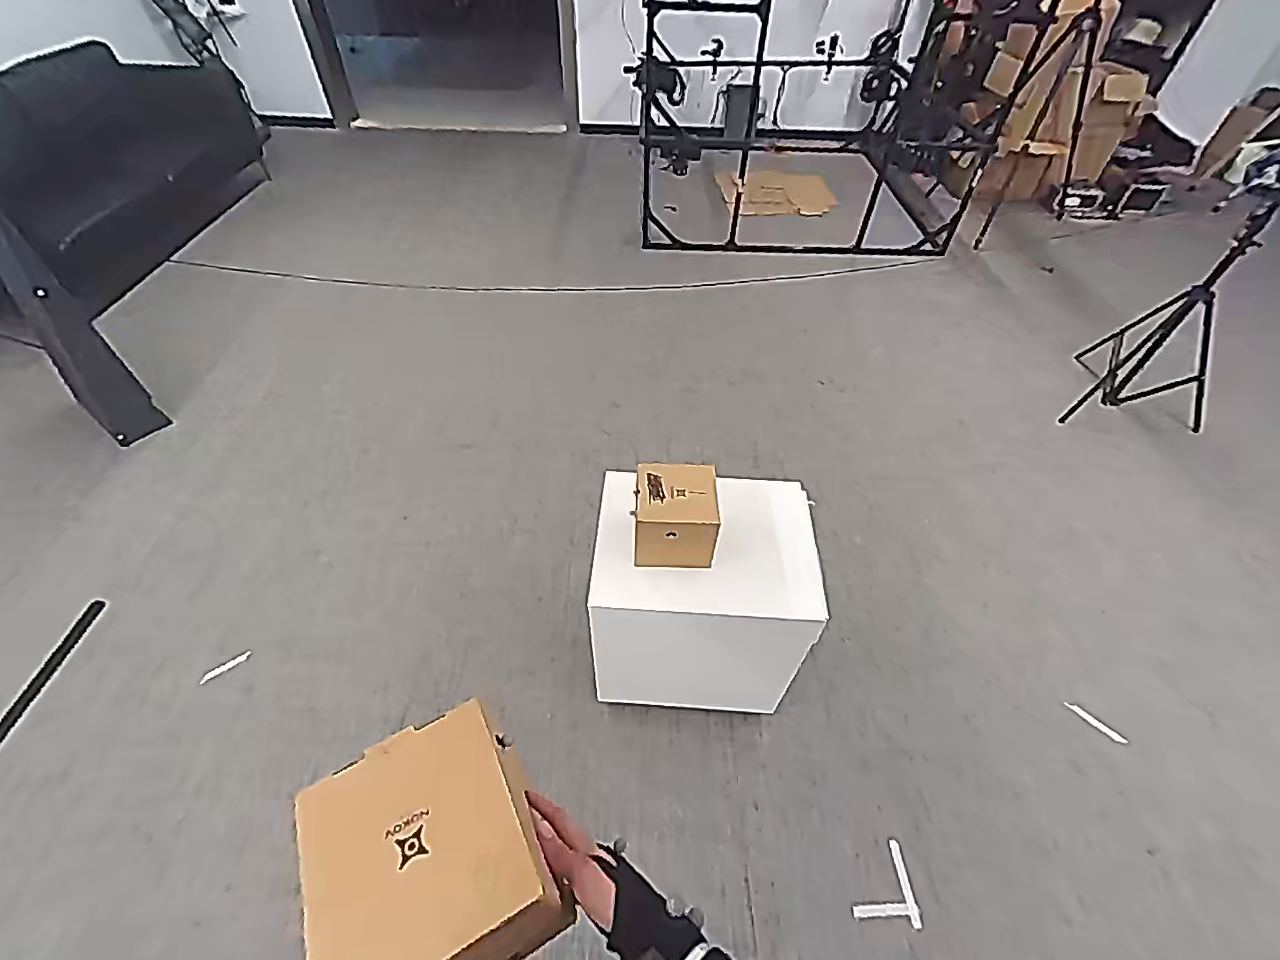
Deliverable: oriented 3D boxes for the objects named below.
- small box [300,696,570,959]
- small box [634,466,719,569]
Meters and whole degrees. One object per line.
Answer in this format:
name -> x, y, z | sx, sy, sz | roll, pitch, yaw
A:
small box -> -0.178, 0.342, 0.494 | 0.168, 0.176, 0.179 | -24, 47, -18
small box -> 0.076, 0.087, 1.218 | 0.179, 0.176, 0.168 | 2, 48, -1
